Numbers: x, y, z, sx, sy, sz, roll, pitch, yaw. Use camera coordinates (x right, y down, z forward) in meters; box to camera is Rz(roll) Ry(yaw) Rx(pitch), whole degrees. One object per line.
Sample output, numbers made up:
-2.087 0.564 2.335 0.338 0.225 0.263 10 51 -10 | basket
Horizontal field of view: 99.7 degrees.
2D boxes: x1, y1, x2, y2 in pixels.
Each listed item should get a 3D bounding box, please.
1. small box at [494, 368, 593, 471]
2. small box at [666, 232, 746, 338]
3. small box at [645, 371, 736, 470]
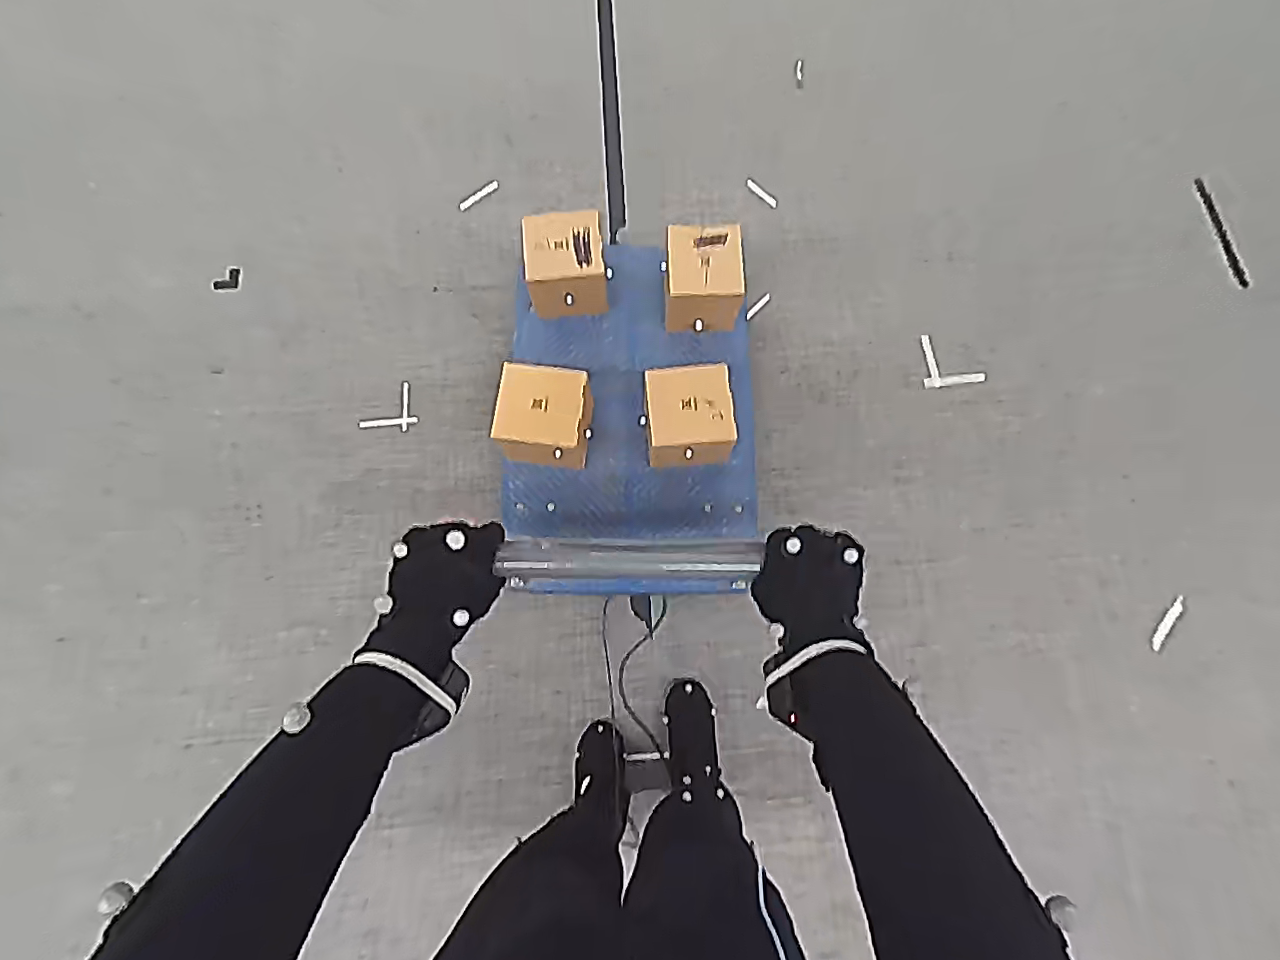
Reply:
-0.202 -0.126 1.185 0.179 0.176 0.168 7 75 0 | small box
0.148 -0.455 1.274 0.168 0.176 0.179 -1 76 -1 | small box
0.104 -0.123 1.187 0.179 0.176 0.168 -4 76 -2 | small box
